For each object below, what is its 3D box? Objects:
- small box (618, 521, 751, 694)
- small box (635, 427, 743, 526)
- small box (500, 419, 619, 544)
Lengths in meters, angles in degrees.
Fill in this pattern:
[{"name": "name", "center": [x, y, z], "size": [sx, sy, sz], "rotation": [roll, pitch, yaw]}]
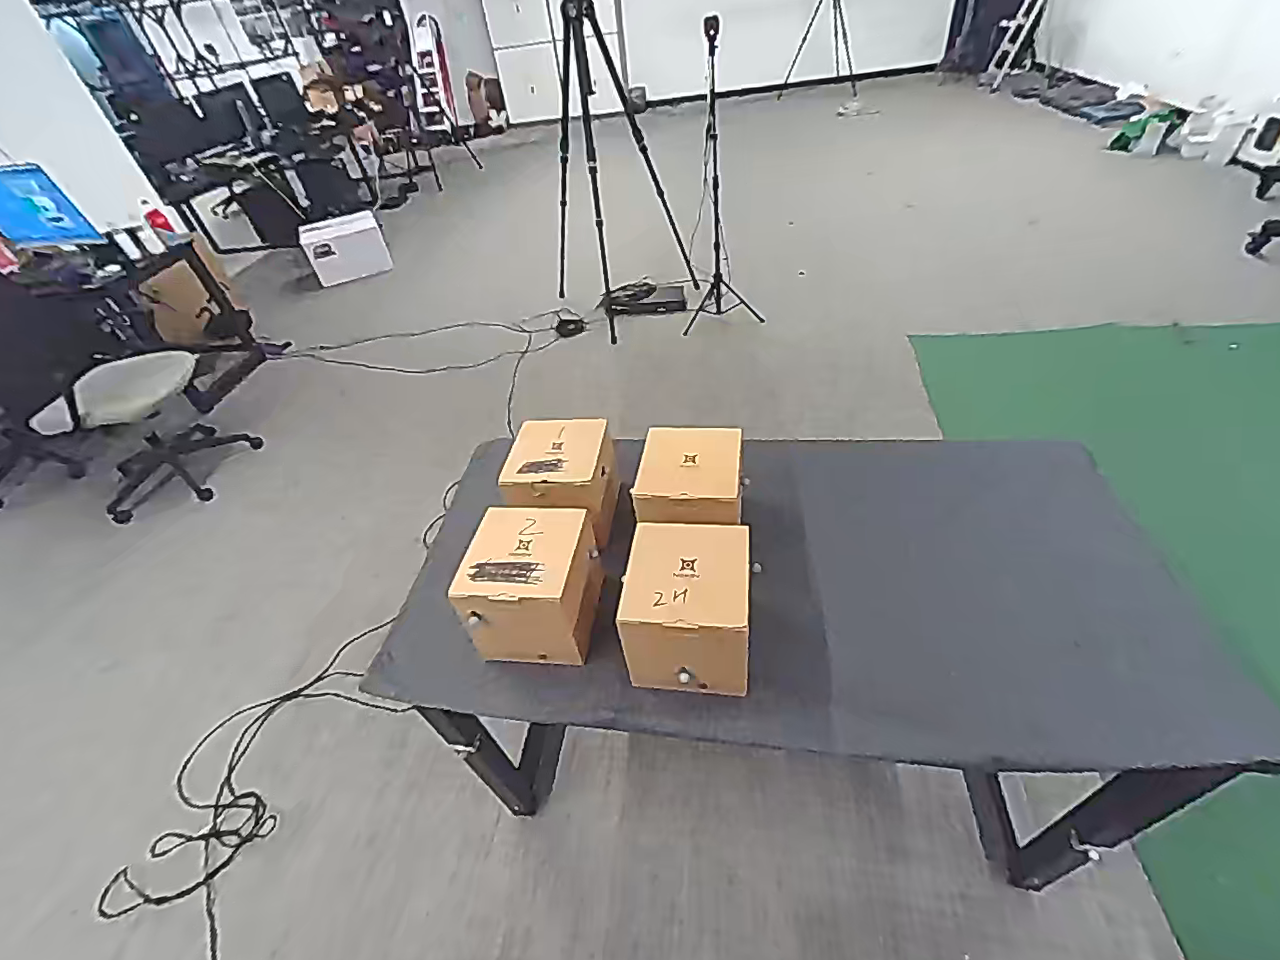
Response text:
[{"name": "small box", "center": [0.073, 0.181, 0.782], "size": [0.168, 0.176, 0.179], "rotation": [1, 42, 12]}, {"name": "small box", "center": [0.093, 0.027, 0.951], "size": [0.168, 0.176, 0.179], "rotation": [2, 45, 12]}, {"name": "small box", "center": [-0.138, 0.006, 1.012], "size": [0.168, 0.176, 0.179], "rotation": [0, 43, 10]}]
